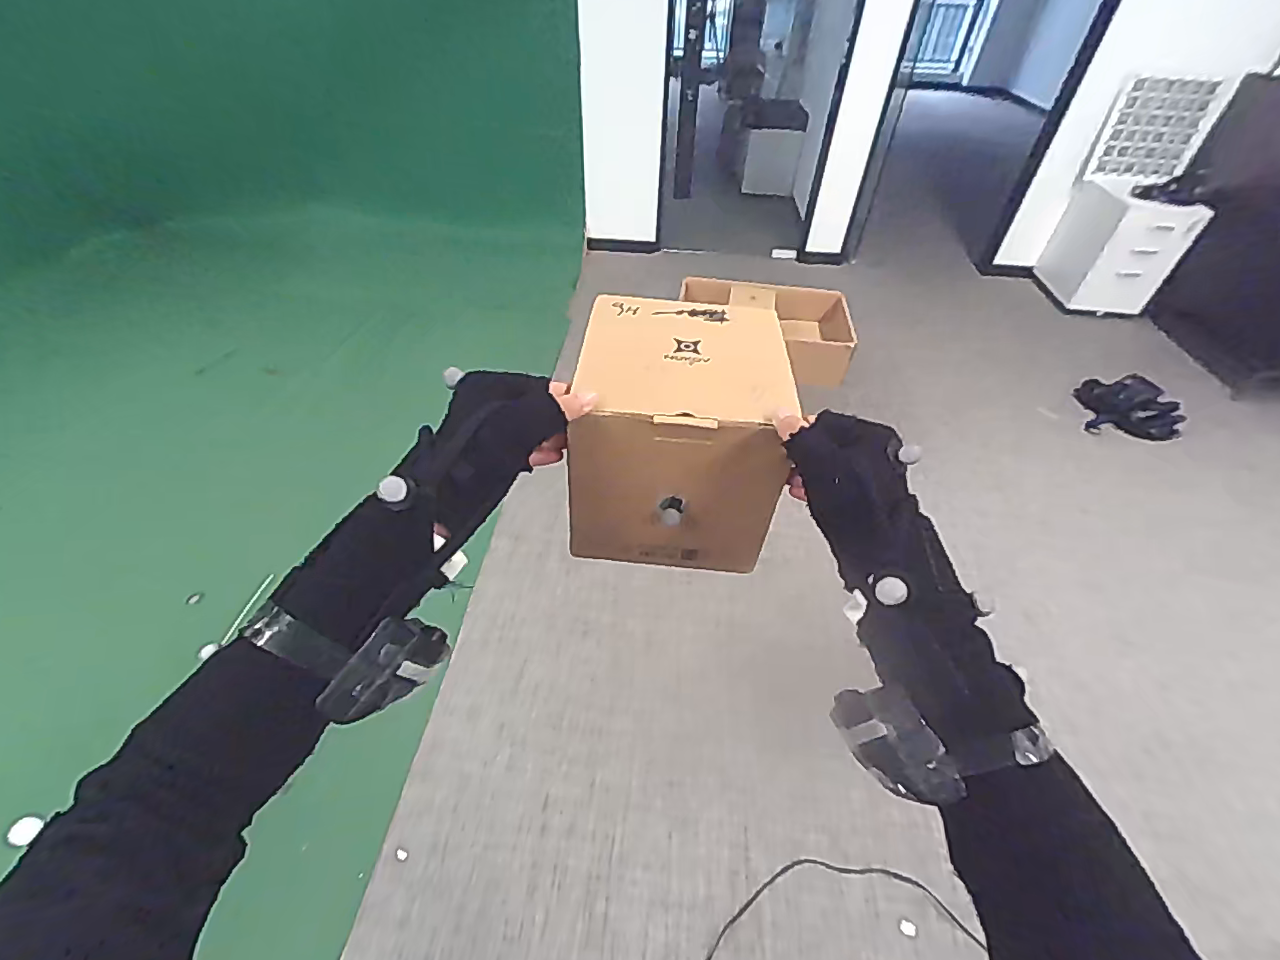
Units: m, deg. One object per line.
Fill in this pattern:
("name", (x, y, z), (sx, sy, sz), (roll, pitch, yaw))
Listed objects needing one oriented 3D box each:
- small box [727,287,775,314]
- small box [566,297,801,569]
("small box", (0.401, -0.590, 2.004), (0.168, 0.176, 0.179), (10, 43, 4))
("small box", (0.032, -0.040, 0.485), (0.168, 0.176, 0.179), (6, 45, 0))
